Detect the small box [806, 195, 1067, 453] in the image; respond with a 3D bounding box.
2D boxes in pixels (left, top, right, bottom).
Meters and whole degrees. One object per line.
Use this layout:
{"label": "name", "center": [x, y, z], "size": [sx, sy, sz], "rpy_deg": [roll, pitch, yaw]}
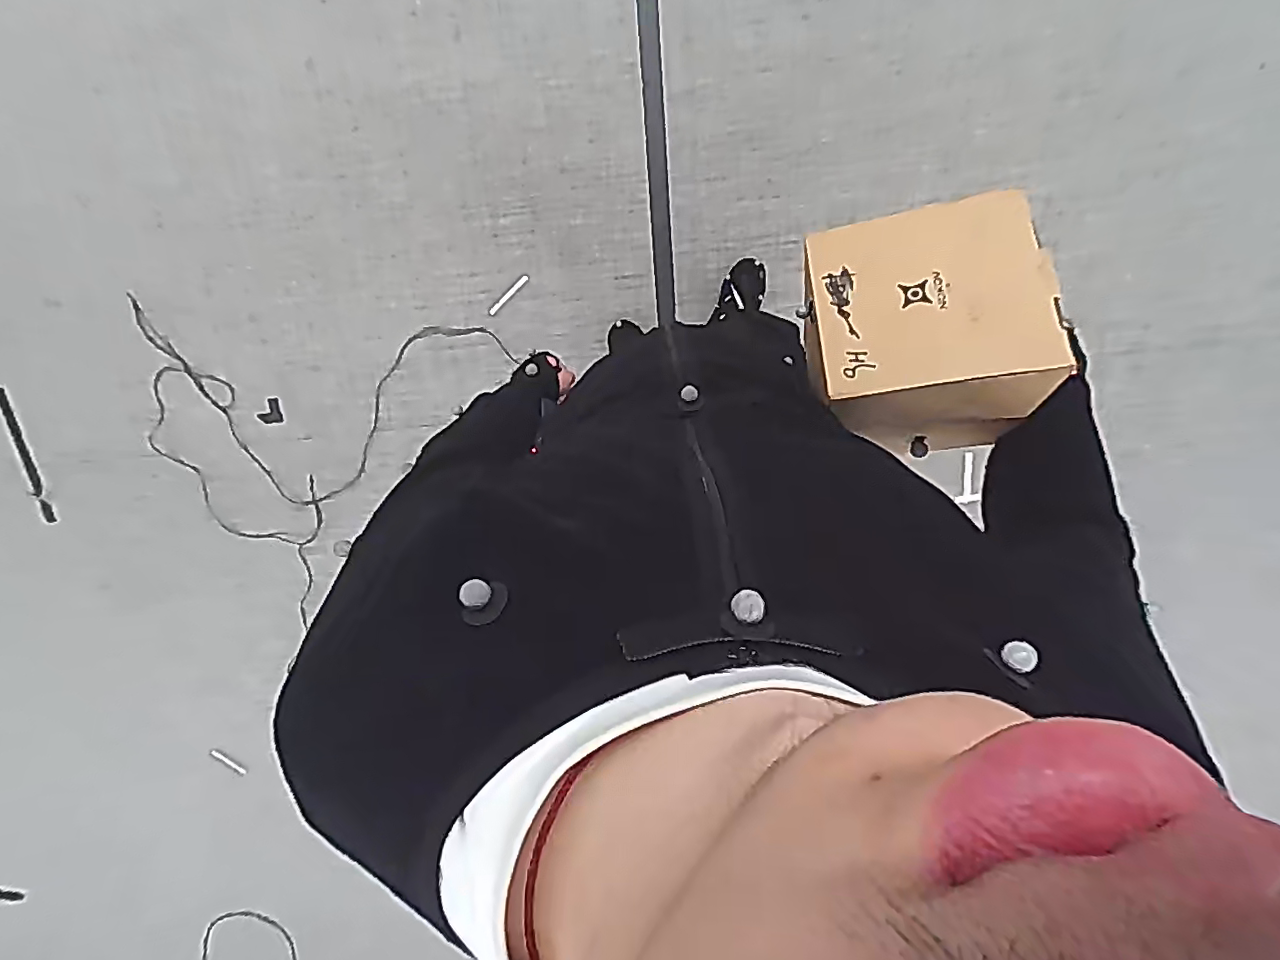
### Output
{"label": "small box", "center": [0.263, -0.135, 0.529], "size": [0.179, 0.176, 0.168], "rpy_deg": [-6, 72, 14]}
